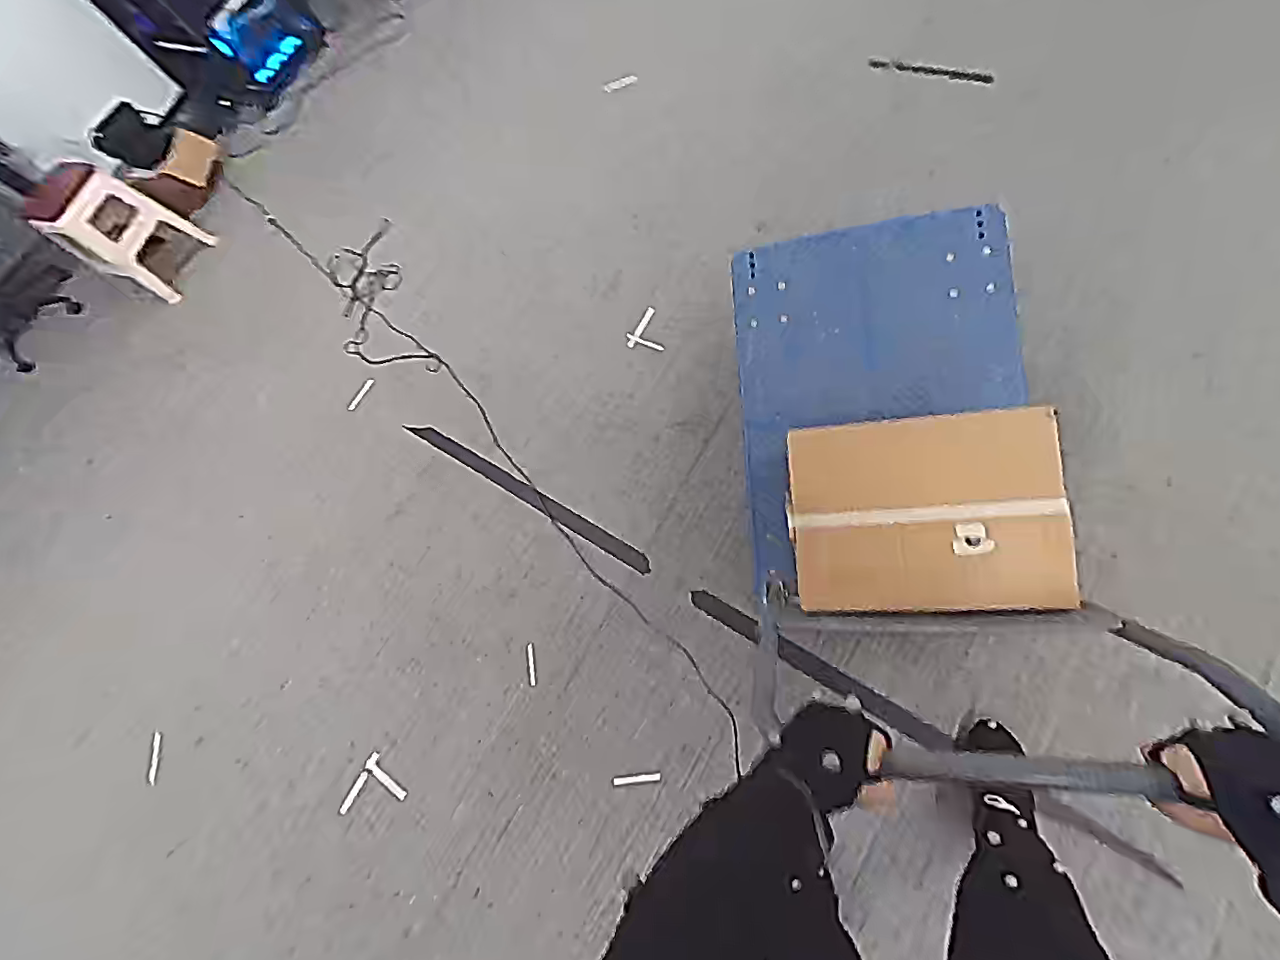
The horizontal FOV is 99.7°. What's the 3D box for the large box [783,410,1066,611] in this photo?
[{"bbox_3d":[0.496,0.067,1.038,0.408,0.320,0.320,-4,86,15],"label":"large box"}]
